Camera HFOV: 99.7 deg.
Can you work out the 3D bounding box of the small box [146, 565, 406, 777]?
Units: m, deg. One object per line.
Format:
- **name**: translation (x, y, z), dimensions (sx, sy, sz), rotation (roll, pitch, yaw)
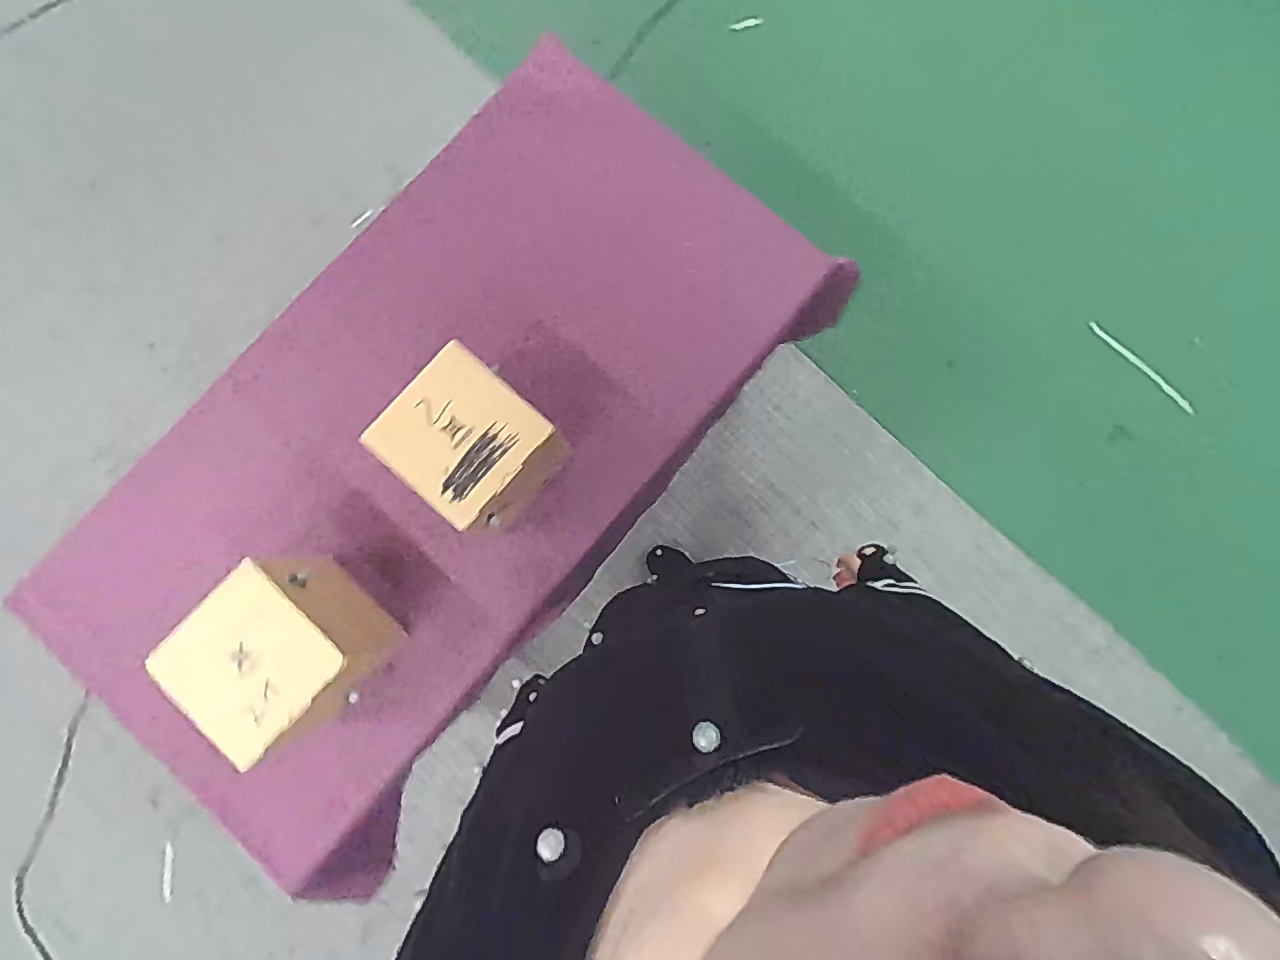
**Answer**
- **small box**: translation (-0.446, 0.227, 0.692), dimensions (0.179, 0.176, 0.168), rotation (41, 85, 6)
